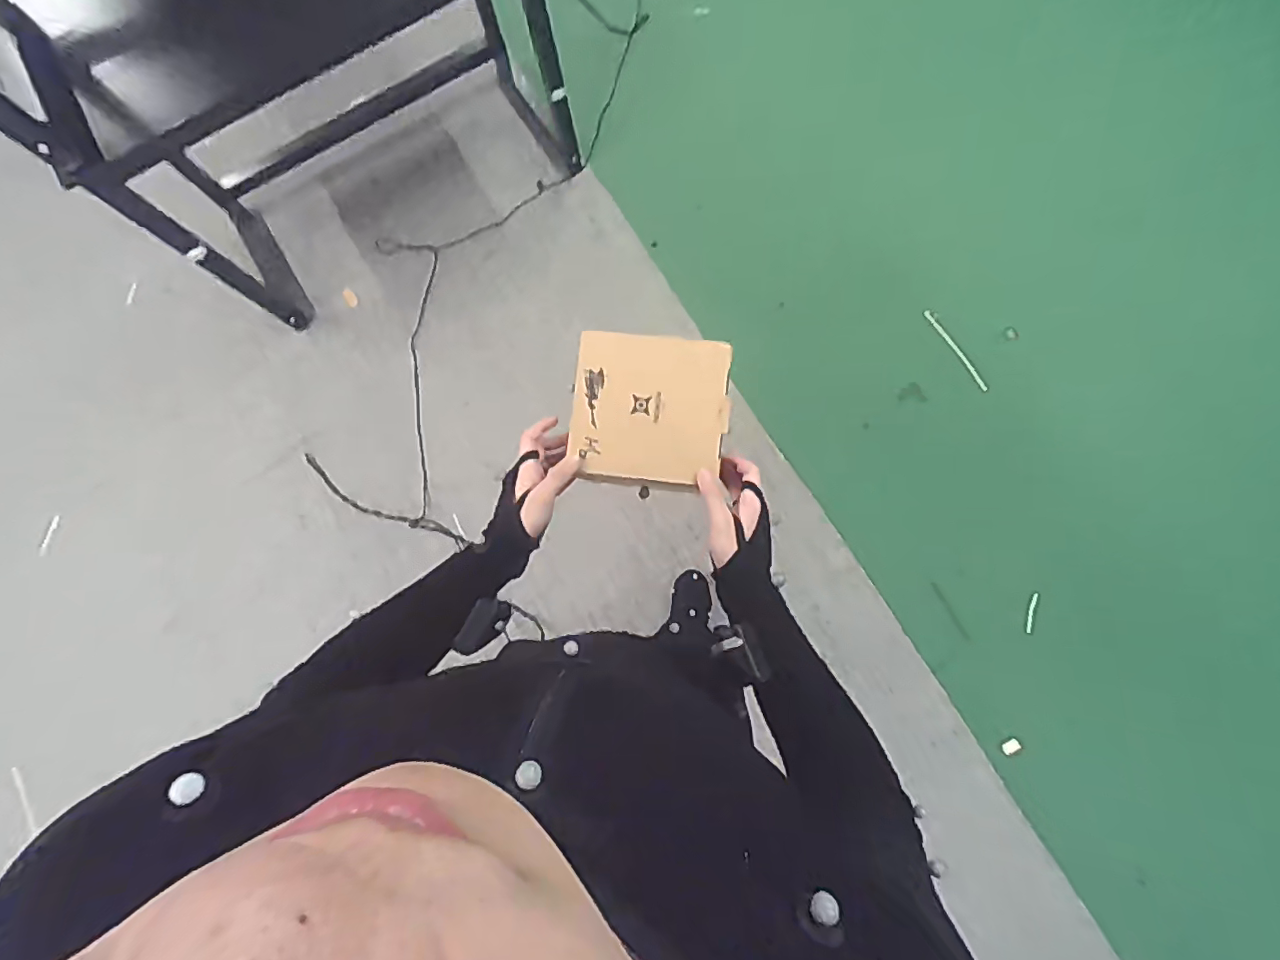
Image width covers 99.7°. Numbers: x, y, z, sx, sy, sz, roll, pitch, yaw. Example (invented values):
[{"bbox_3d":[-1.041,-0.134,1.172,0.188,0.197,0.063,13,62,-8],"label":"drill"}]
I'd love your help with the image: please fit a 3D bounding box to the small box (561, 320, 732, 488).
[{"bbox_3d":[0.009,-0.083,0.681,0.179,0.176,0.168,7,85,2],"label":"small box"}]
